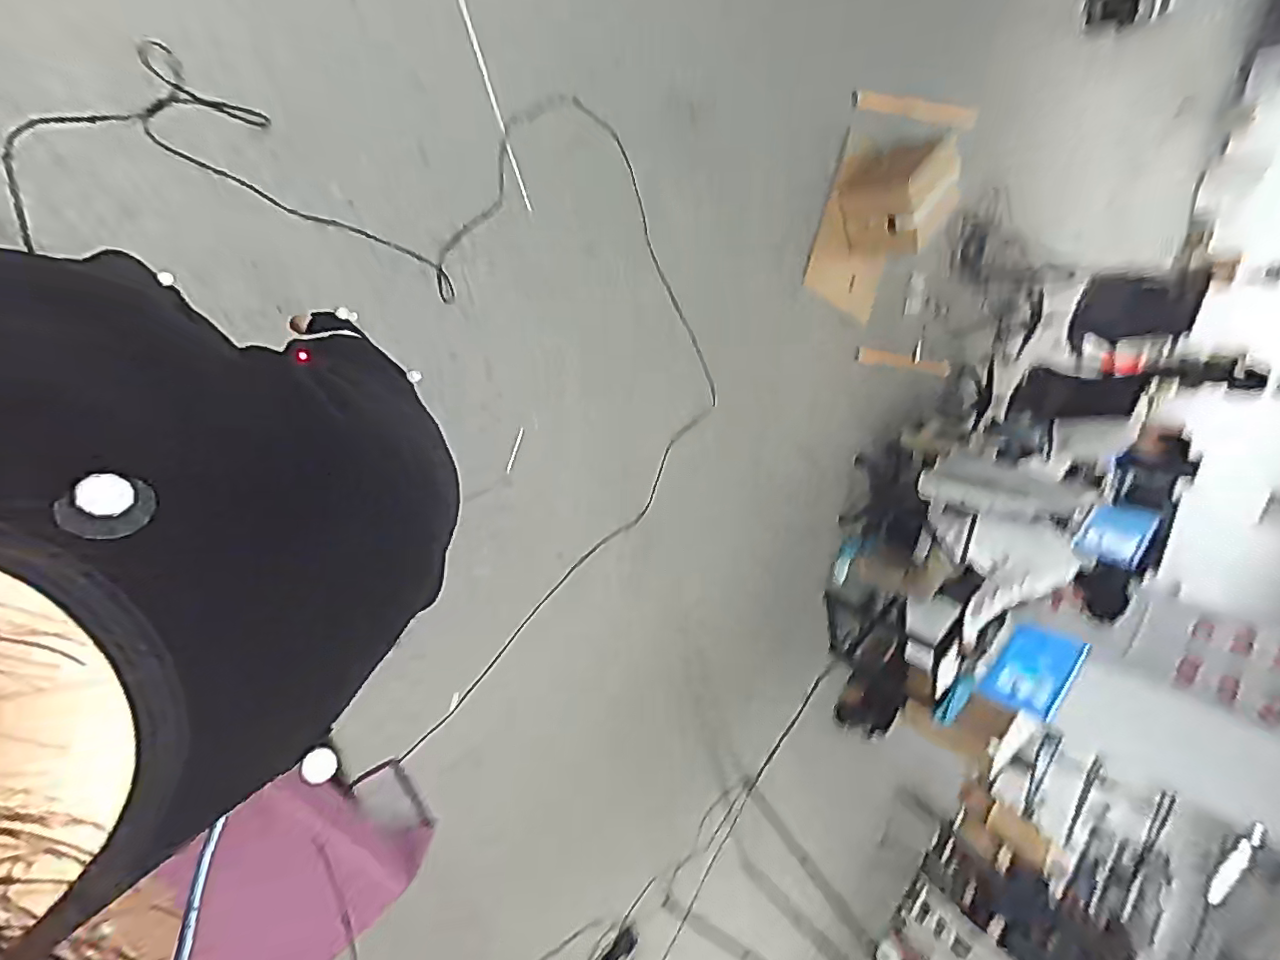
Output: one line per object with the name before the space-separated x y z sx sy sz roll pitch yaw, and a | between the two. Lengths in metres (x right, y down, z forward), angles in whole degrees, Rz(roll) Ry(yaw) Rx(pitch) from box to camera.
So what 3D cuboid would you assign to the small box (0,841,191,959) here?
small box | -0.646 0.550 0.598 0.168 0.176 0.179 -35 126 -26
